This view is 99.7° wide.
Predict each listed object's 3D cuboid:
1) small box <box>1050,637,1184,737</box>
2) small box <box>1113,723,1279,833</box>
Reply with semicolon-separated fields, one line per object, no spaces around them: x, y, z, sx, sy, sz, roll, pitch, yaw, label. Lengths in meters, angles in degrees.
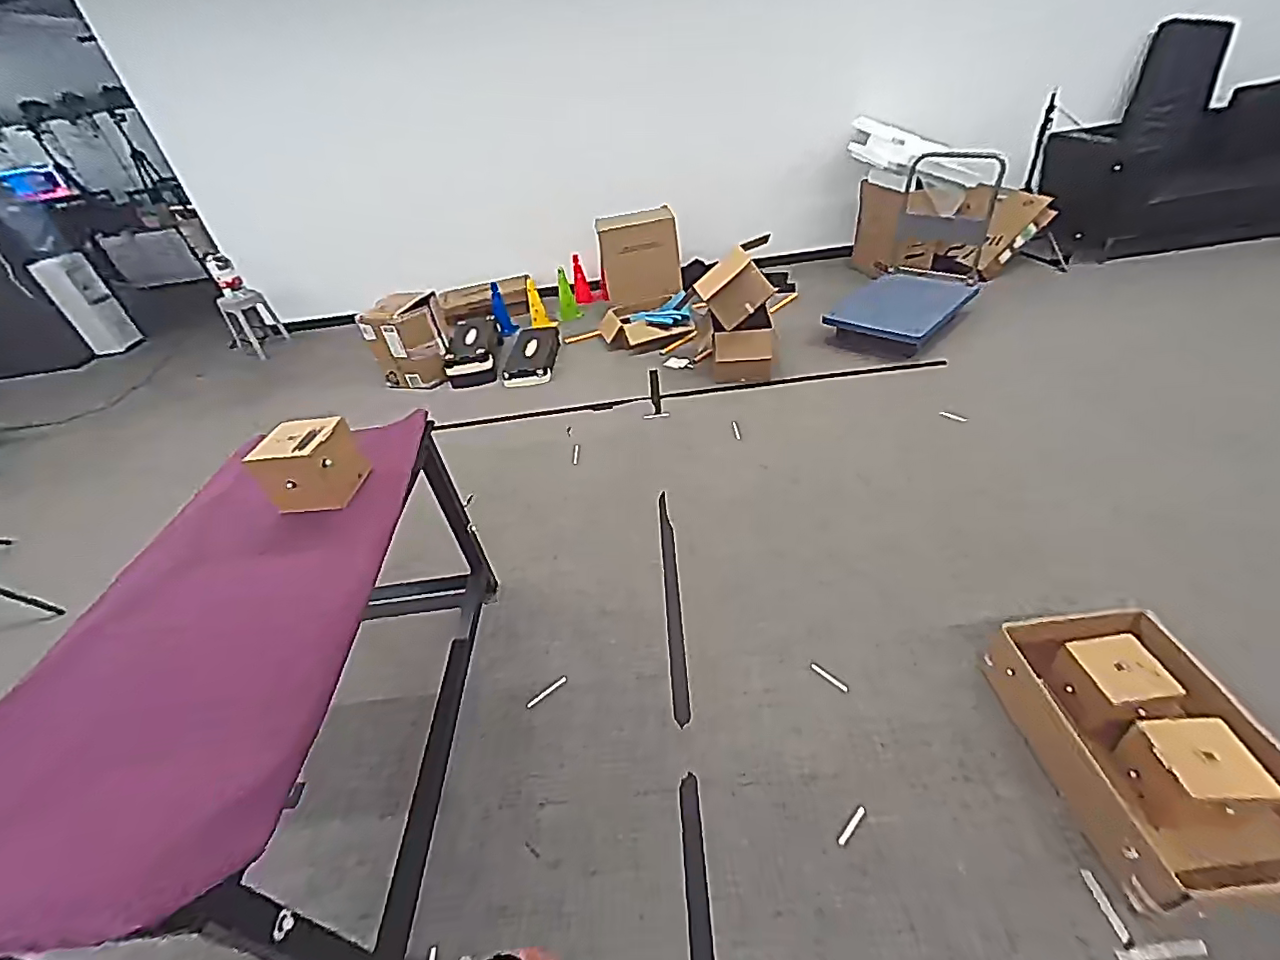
1.185;0.526;1.366;0.179;0.176;0.168;-9;39;0;small box
1.216;0.658;1.195;0.179;0.176;0.168;-5;37;6;small box
